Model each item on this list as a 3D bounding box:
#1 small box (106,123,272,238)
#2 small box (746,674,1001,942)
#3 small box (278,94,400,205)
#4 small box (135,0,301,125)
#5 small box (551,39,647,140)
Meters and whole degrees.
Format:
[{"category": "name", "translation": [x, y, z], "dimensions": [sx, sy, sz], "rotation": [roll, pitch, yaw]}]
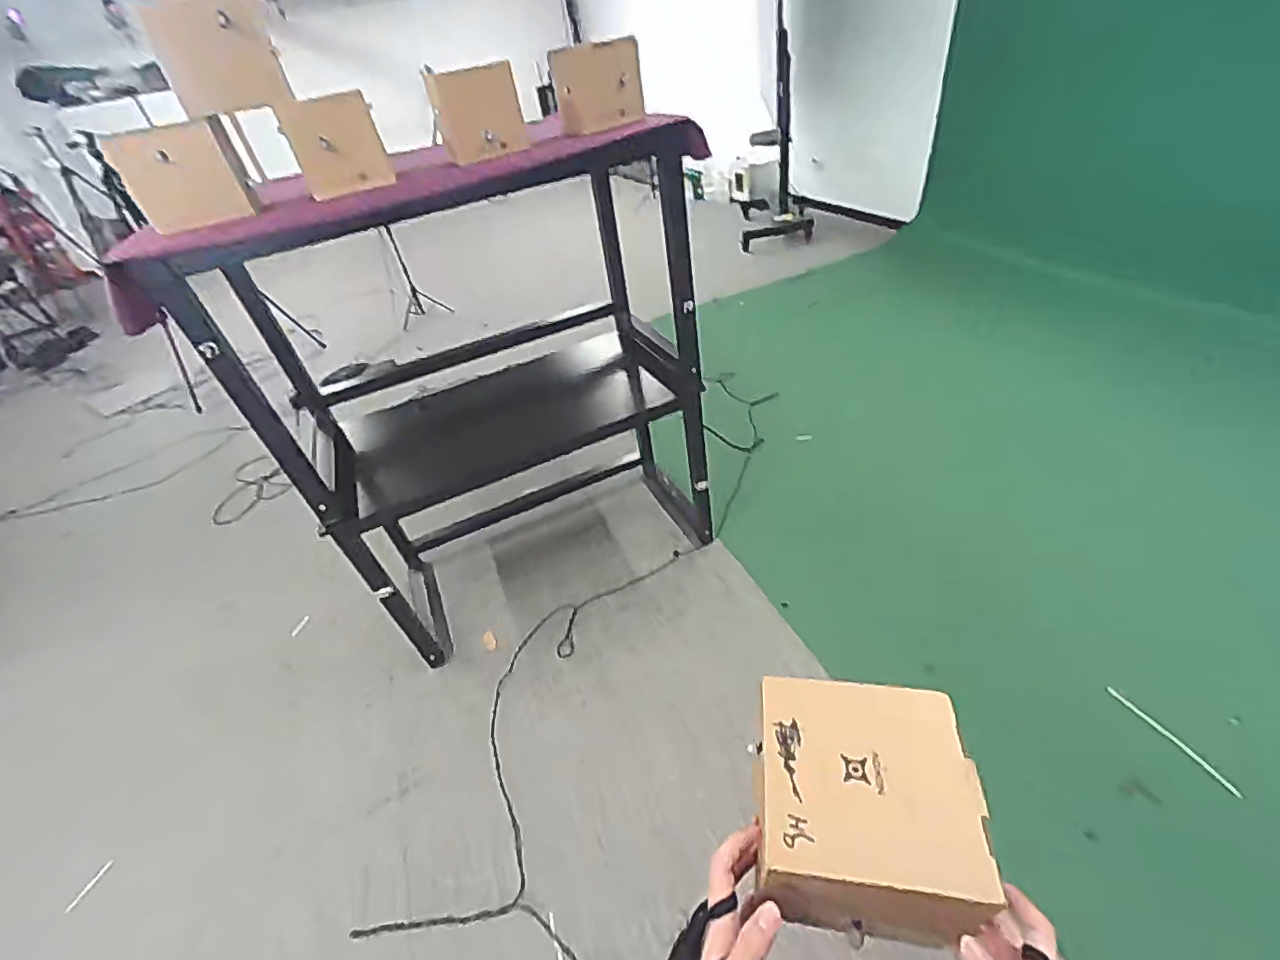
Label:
[{"category": "small box", "translation": [-0.880, -0.597, 1.077], "dimensions": [0.179, 0.176, 0.168], "rotation": [-21, 40, -14]}, {"category": "small box", "translation": [0.199, 0.314, 0.520], "dimensions": [0.179, 0.176, 0.168], "rotation": [3, 40, 10]}, {"category": "small box", "translation": [-0.623, -0.695, 1.141], "dimensions": [0.168, 0.176, 0.179], "rotation": [-22, 39, -13]}, {"category": "small box", "translation": [-0.771, -0.781, 1.016], "dimensions": [0.179, 0.176, 0.168], "rotation": [-20, 38, -13]}, {"category": "small box", "translation": [-0.096, -0.930, 1.297], "dimensions": [0.168, 0.176, 0.179], "rotation": [-22, 39, -12]}]
